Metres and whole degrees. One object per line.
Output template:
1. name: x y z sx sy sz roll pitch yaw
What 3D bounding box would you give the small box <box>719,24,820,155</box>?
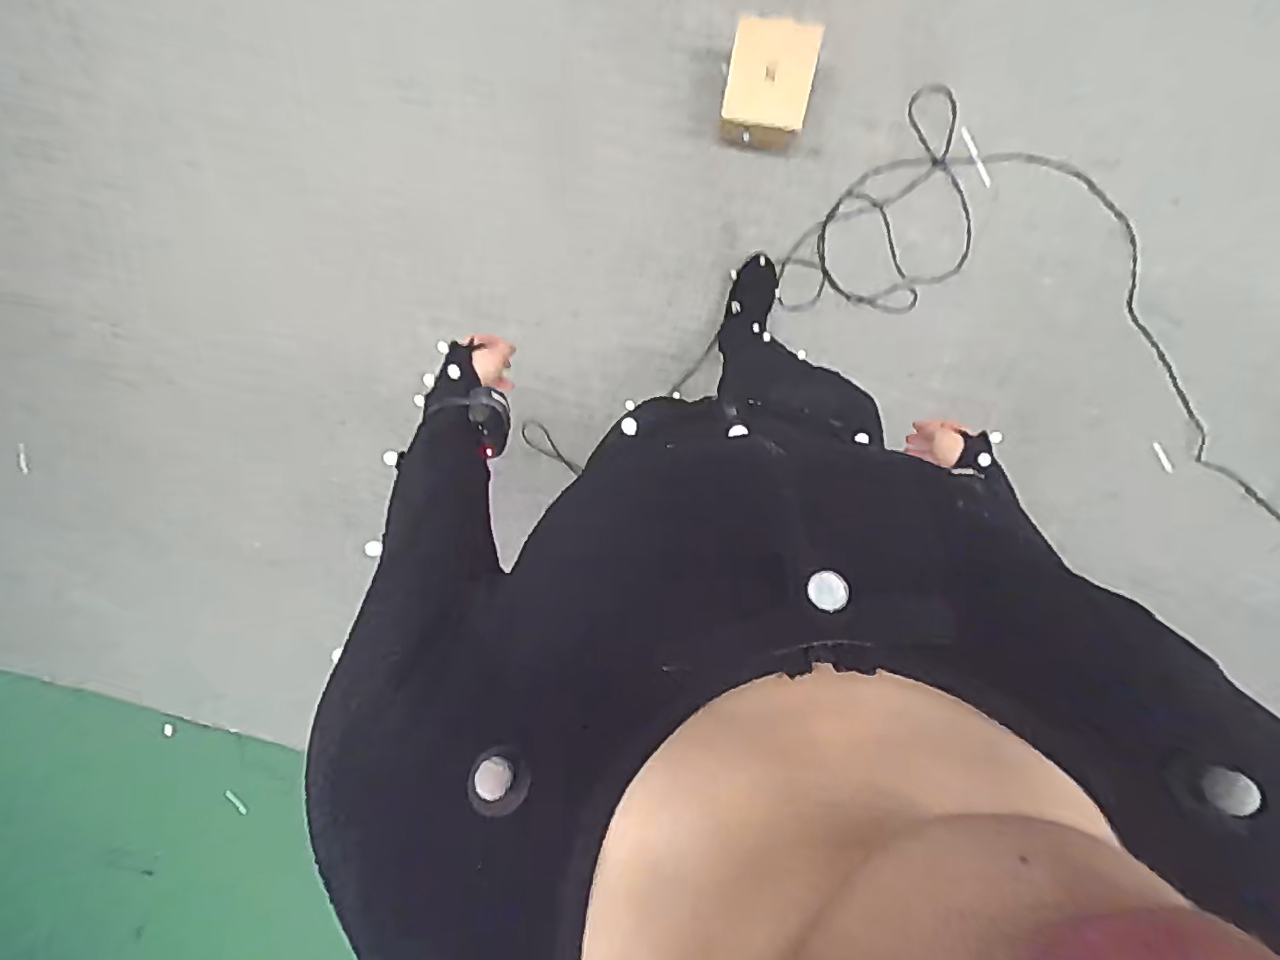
1. small box: 0.267 -0.817 1.149 0.168 0.176 0.179 11 107 4
